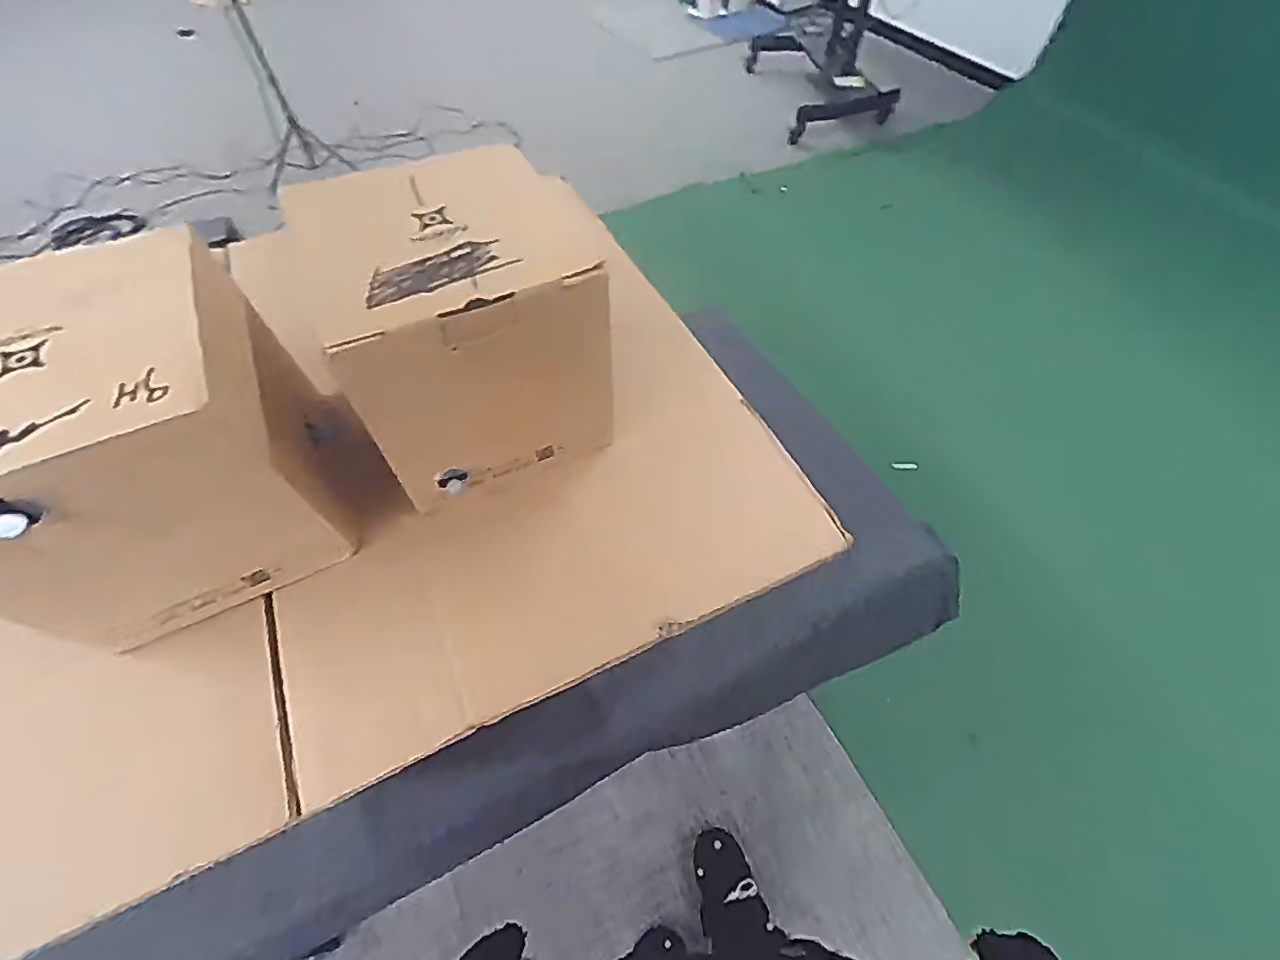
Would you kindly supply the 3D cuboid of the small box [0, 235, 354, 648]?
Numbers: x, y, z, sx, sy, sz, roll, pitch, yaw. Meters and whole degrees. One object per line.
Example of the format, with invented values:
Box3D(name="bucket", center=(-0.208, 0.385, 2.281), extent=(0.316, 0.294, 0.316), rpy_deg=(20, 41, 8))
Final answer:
Box3D(name="small box", center=(-0.319, -0.021, 0.354), extent=(0.168, 0.176, 0.179), rpy_deg=(-24, 59, -13))
